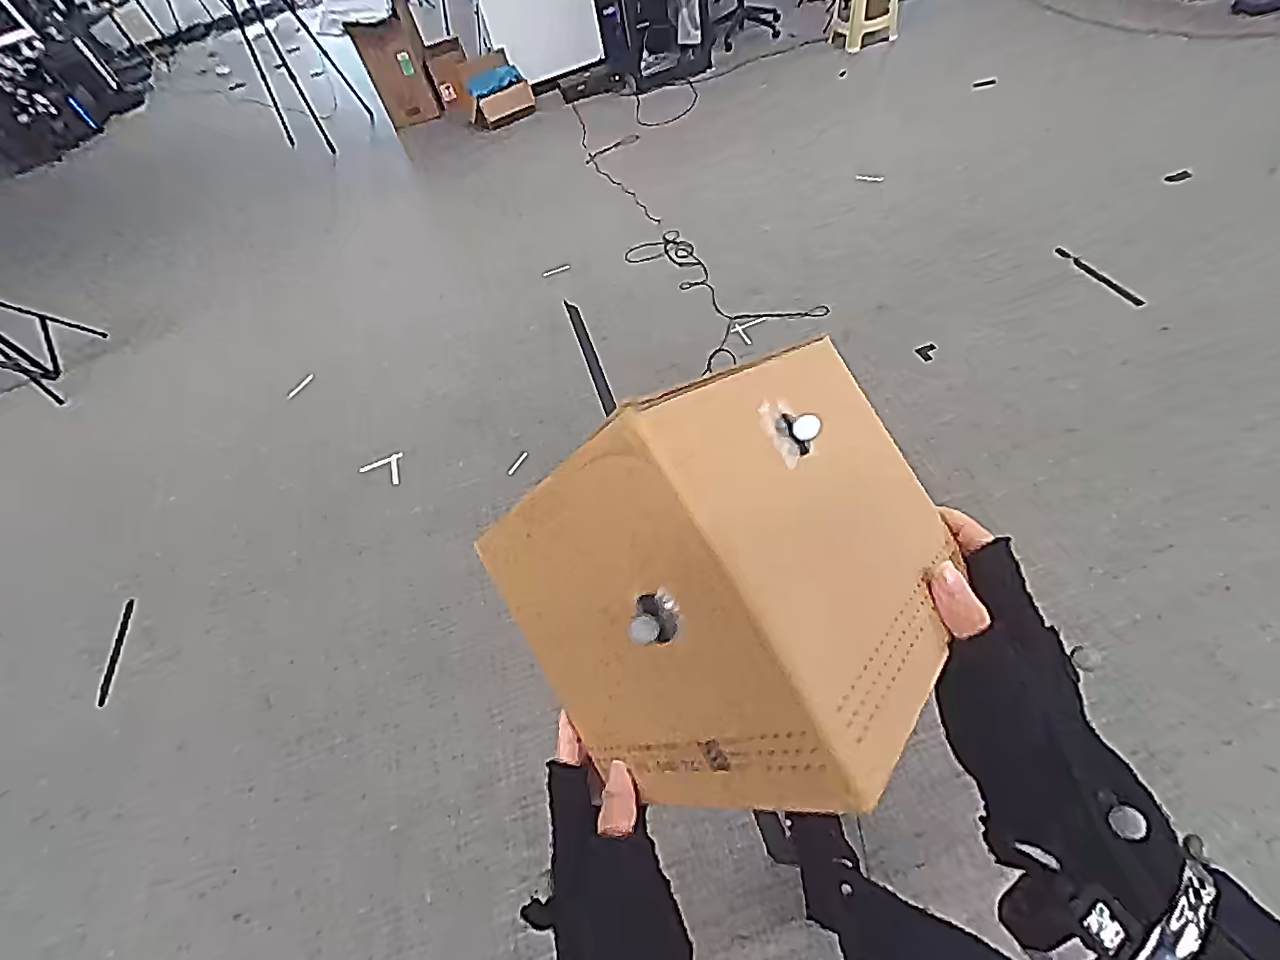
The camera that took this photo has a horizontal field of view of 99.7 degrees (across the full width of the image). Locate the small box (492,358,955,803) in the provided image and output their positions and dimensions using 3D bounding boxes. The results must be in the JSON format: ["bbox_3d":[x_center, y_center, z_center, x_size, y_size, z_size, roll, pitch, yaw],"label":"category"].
[{"bbox_3d":[0.050,0.057,0.321,0.179,0.168,0.176,-27,85,-42],"label":"small box"}]
